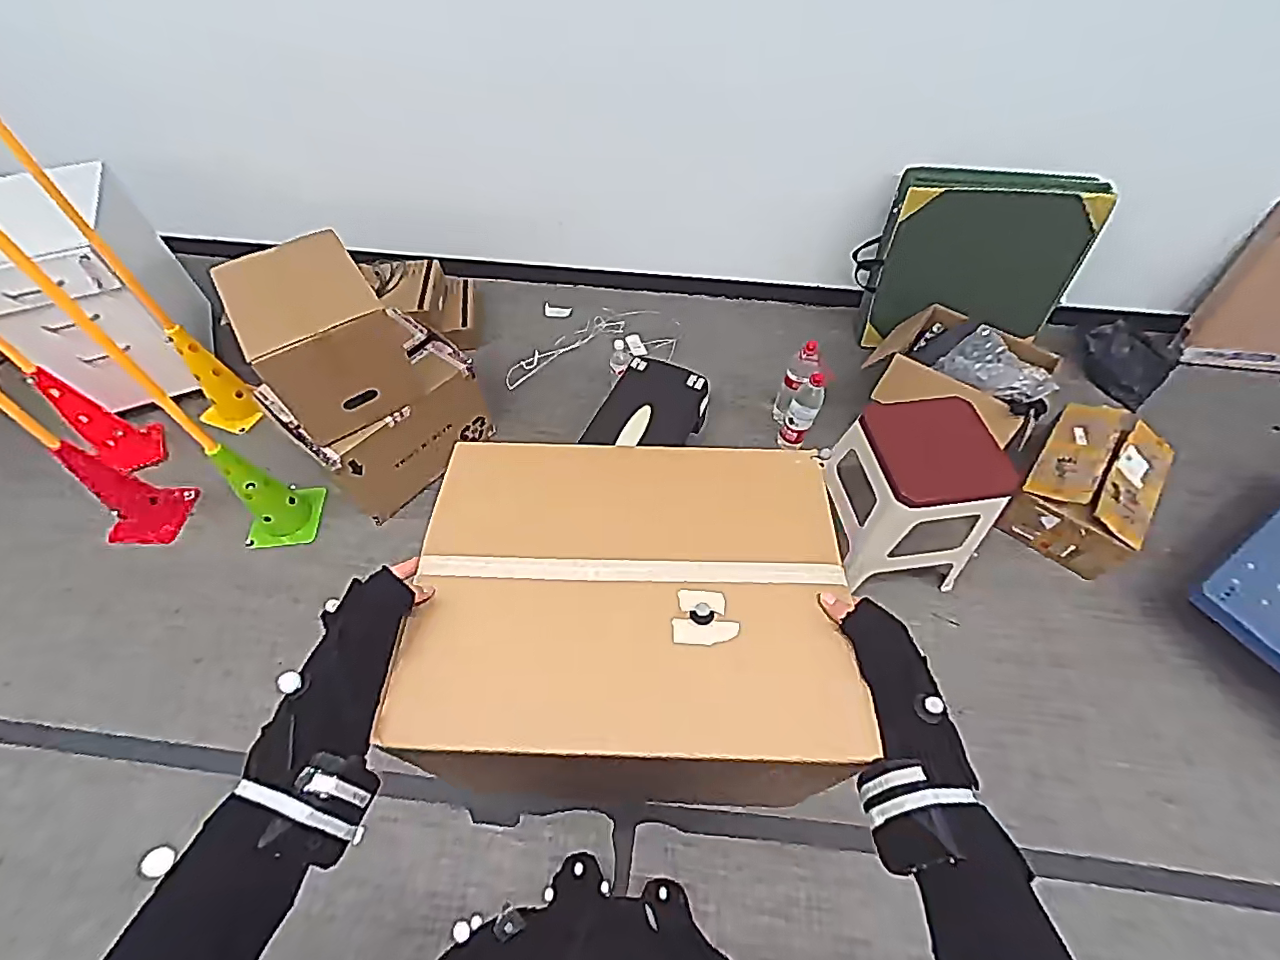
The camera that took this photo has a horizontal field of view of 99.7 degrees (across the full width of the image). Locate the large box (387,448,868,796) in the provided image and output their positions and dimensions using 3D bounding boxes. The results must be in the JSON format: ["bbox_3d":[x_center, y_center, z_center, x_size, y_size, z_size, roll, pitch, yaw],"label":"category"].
[{"bbox_3d":[-0.010,0.179,0.646,0.408,0.320,0.320,2,54,1],"label":"large box"}]
